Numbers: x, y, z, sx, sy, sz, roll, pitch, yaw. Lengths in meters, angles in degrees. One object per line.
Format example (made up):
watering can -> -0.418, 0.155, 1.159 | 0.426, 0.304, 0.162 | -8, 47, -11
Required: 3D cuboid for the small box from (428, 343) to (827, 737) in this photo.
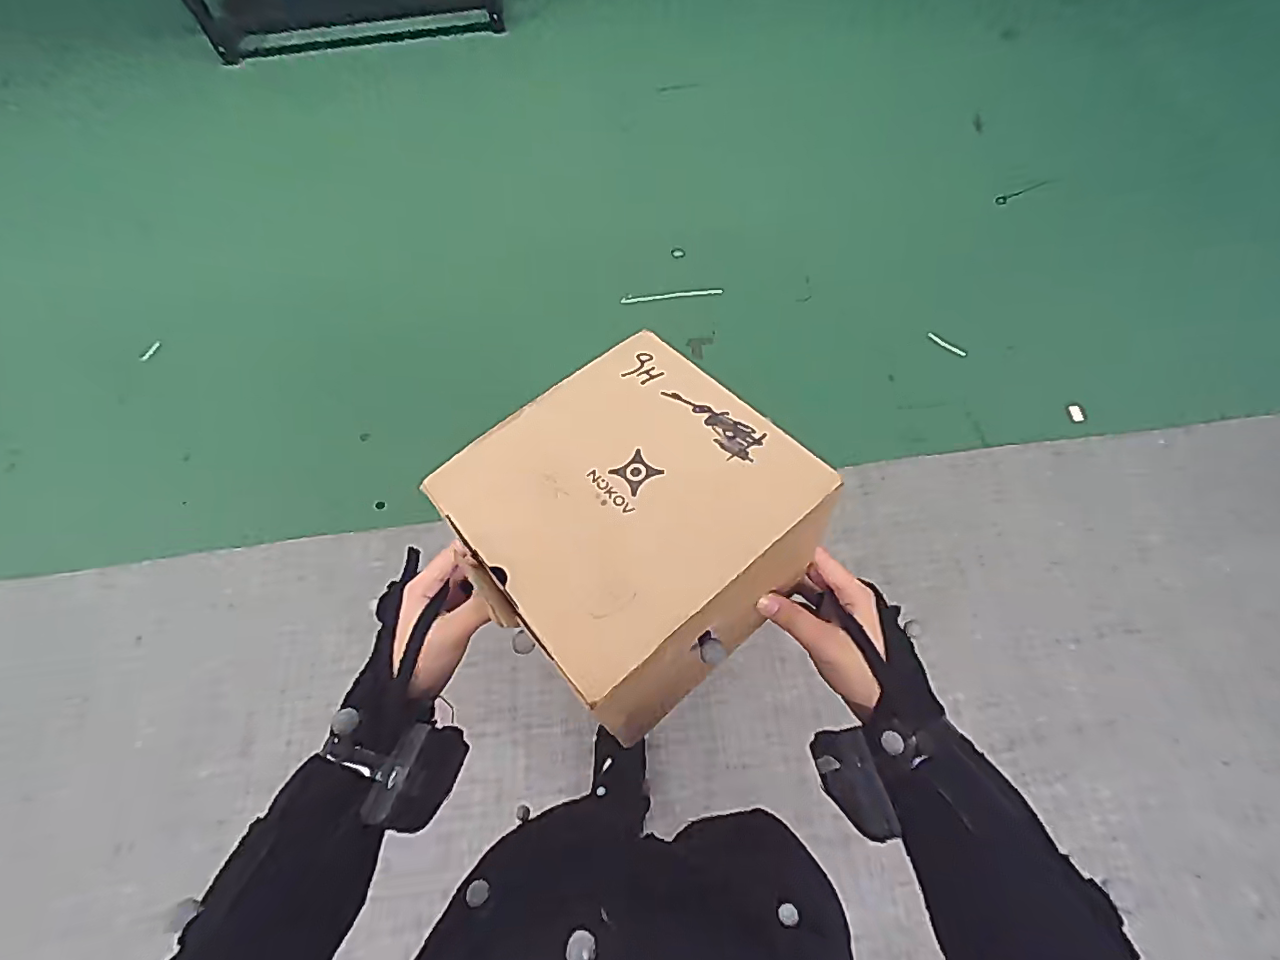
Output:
small box -> -0.003, 0.049, 0.374 | 0.179, 0.176, 0.168 | -38, 62, -16
